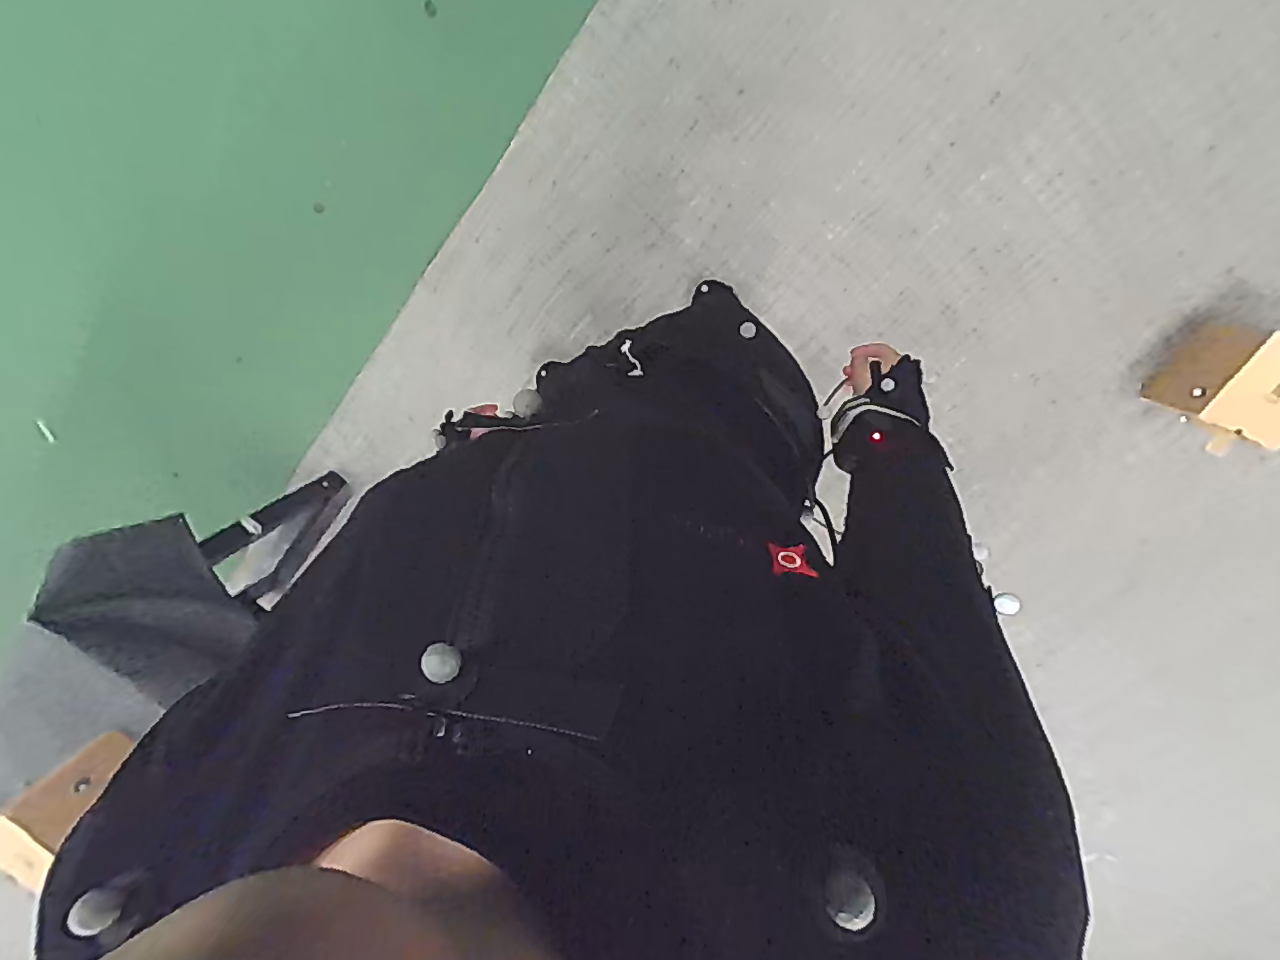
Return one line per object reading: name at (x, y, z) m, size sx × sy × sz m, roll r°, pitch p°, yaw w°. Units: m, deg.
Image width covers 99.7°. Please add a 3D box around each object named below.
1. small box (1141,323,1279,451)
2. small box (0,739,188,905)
small box at (1.154, -0.189, 1.052) m, size 0.168 × 0.176 × 0.179 m, roll 24°, pitch 115°, yaw -1°
small box at (-0.955, 0.578, 0.933) m, size 0.168 × 0.176 × 0.179 m, roll -29°, pitch 106°, yaw 21°
